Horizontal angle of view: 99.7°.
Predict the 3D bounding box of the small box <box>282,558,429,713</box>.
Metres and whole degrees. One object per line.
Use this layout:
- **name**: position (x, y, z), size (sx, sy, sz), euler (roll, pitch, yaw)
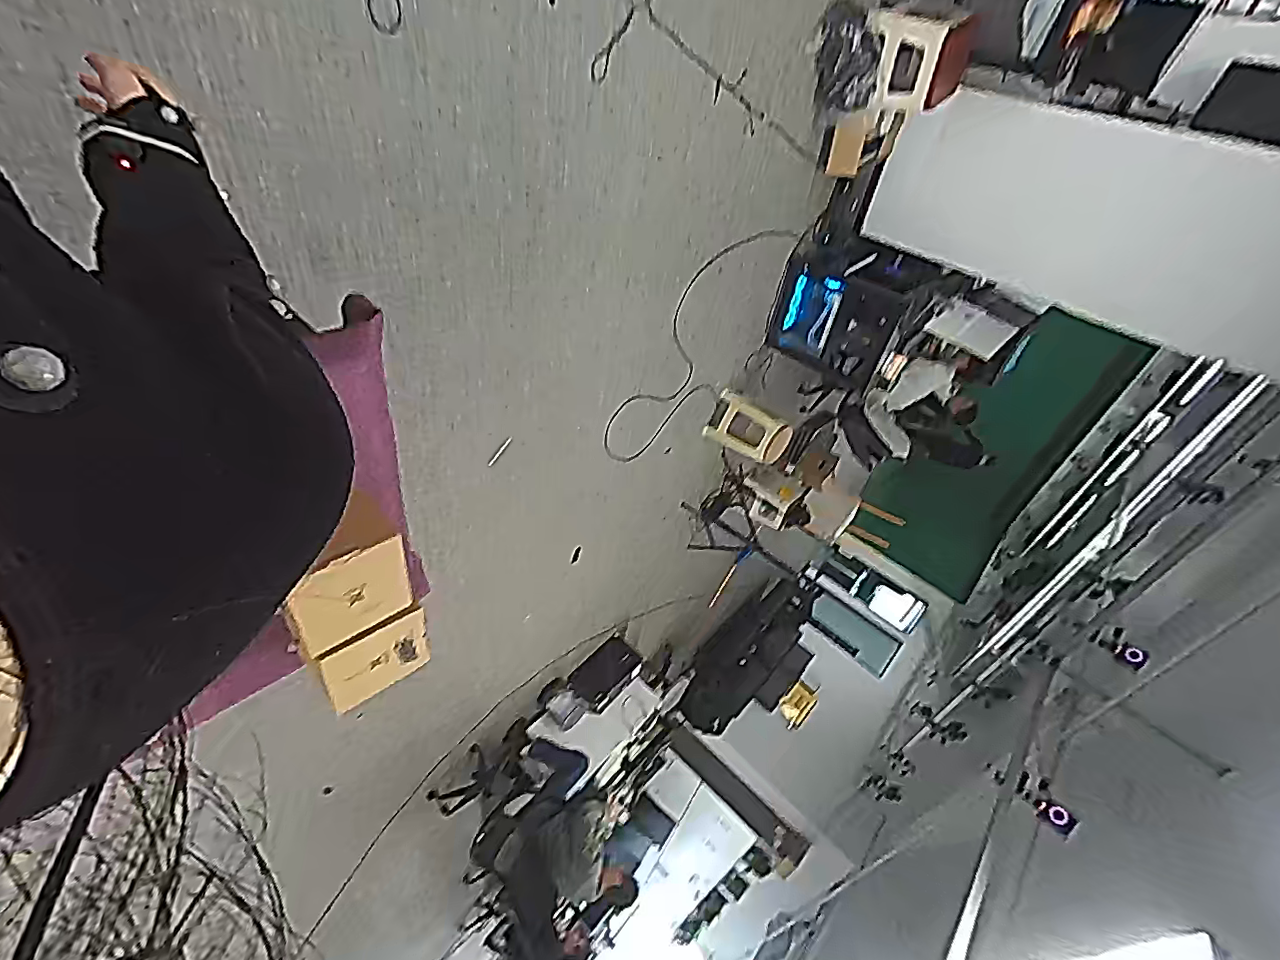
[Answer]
- **small box**: position (-0.512, 0.273, 0.987), size (0.179, 0.176, 0.168), euler (-27, 141, -40)
